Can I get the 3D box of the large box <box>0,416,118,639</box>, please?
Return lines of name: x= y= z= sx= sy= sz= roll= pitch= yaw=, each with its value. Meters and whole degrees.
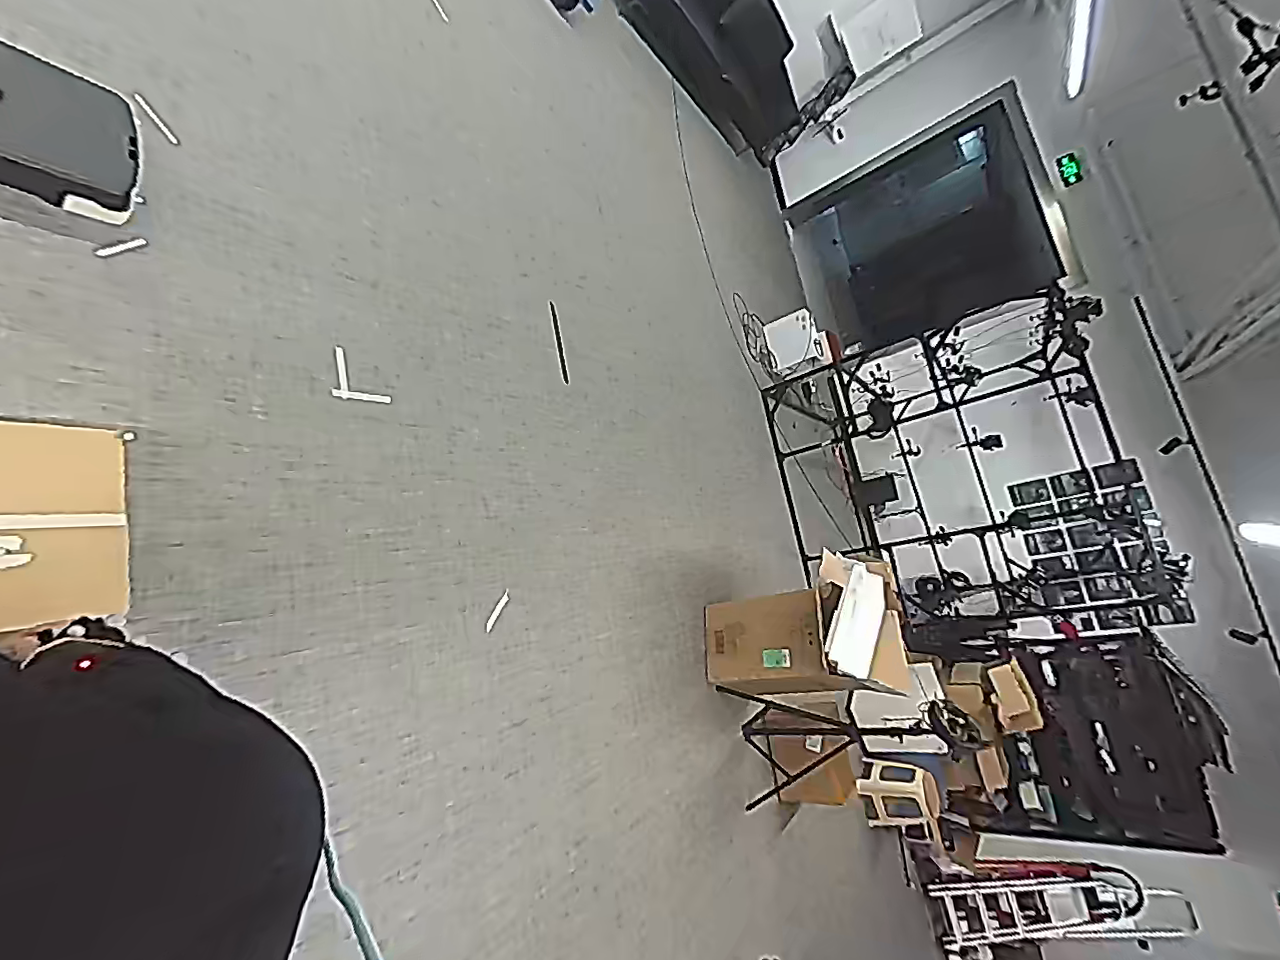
large box: x=-1.088 y=0.090 z=0.792 sx=0.408 sy=0.320 sz=0.320 roll=4 pitch=73 yaw=-57
